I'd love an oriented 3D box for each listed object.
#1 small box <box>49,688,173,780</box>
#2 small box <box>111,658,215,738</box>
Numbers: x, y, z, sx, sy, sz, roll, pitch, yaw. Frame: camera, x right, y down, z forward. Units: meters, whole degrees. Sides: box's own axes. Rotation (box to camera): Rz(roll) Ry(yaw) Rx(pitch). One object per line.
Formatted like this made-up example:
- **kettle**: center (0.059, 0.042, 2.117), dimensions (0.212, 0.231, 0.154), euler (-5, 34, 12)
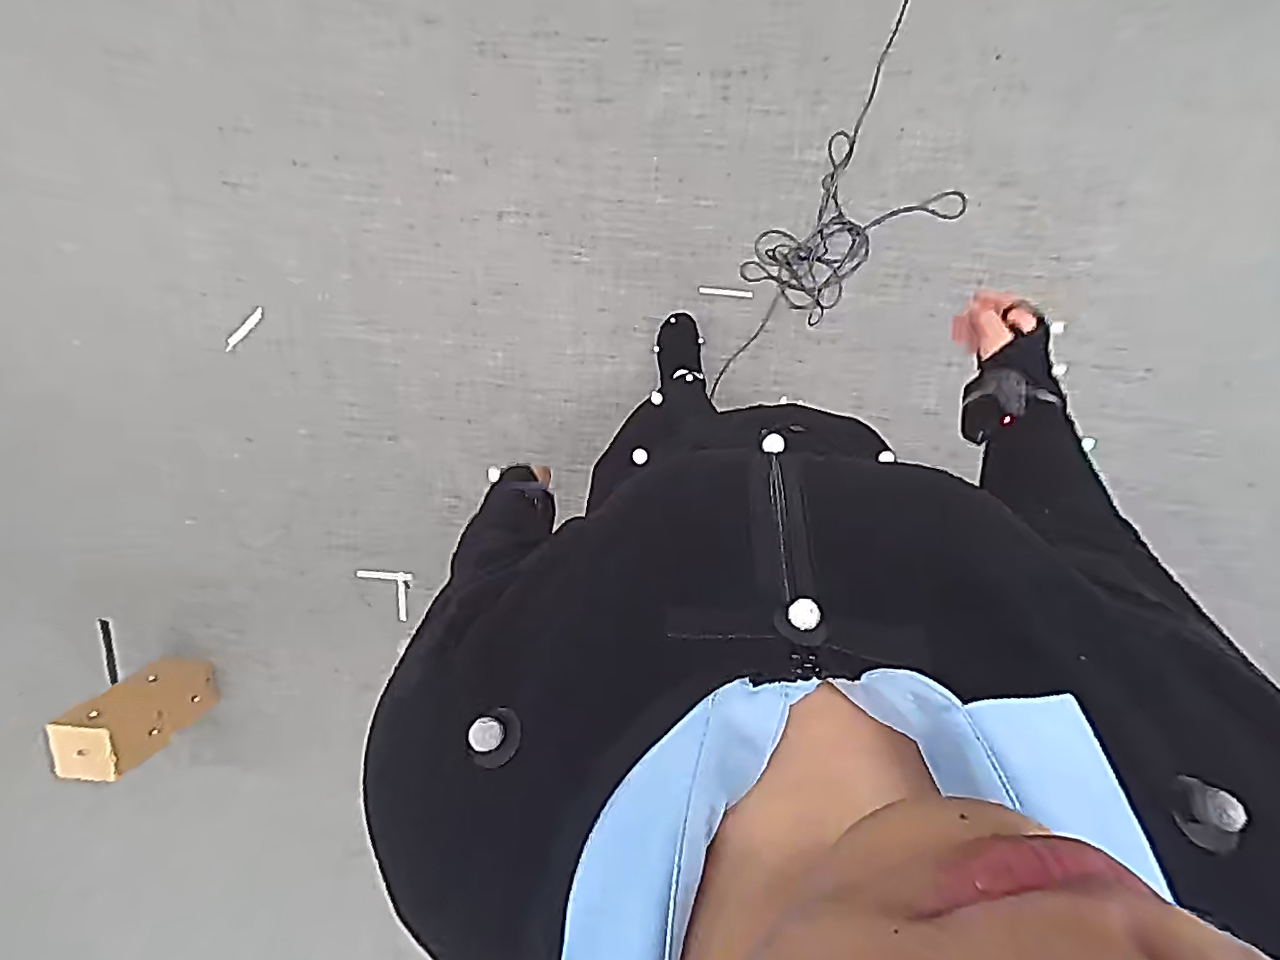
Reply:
- **small box**: center (-1.479, 0.708, 1.521), dimensions (0.179, 0.176, 0.168), euler (3, 103, 3)
- **small box**: center (-1.467, 0.672, 1.680), dimensions (0.179, 0.176, 0.168), euler (2, 102, 4)
